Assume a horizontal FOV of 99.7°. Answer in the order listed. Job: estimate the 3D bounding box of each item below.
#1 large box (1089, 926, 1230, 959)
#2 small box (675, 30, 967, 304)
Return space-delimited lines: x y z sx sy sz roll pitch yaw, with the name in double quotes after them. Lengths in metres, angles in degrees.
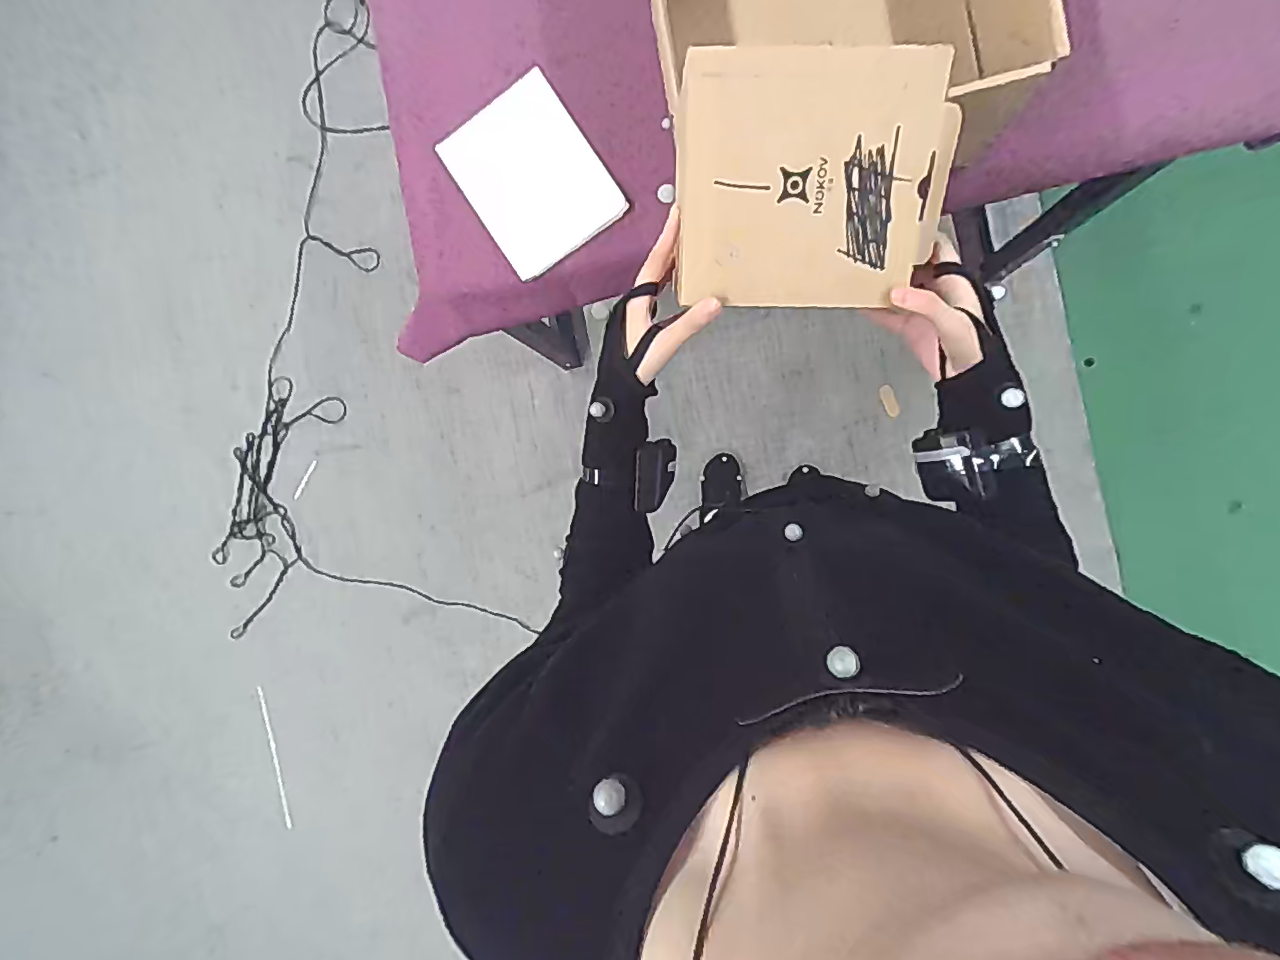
1.249 1.331 1.220 0.408 0.320 0.320 -26 88 7 "large box"
0.124 -0.242 0.452 0.179 0.176 0.168 2 112 1 "small box"
